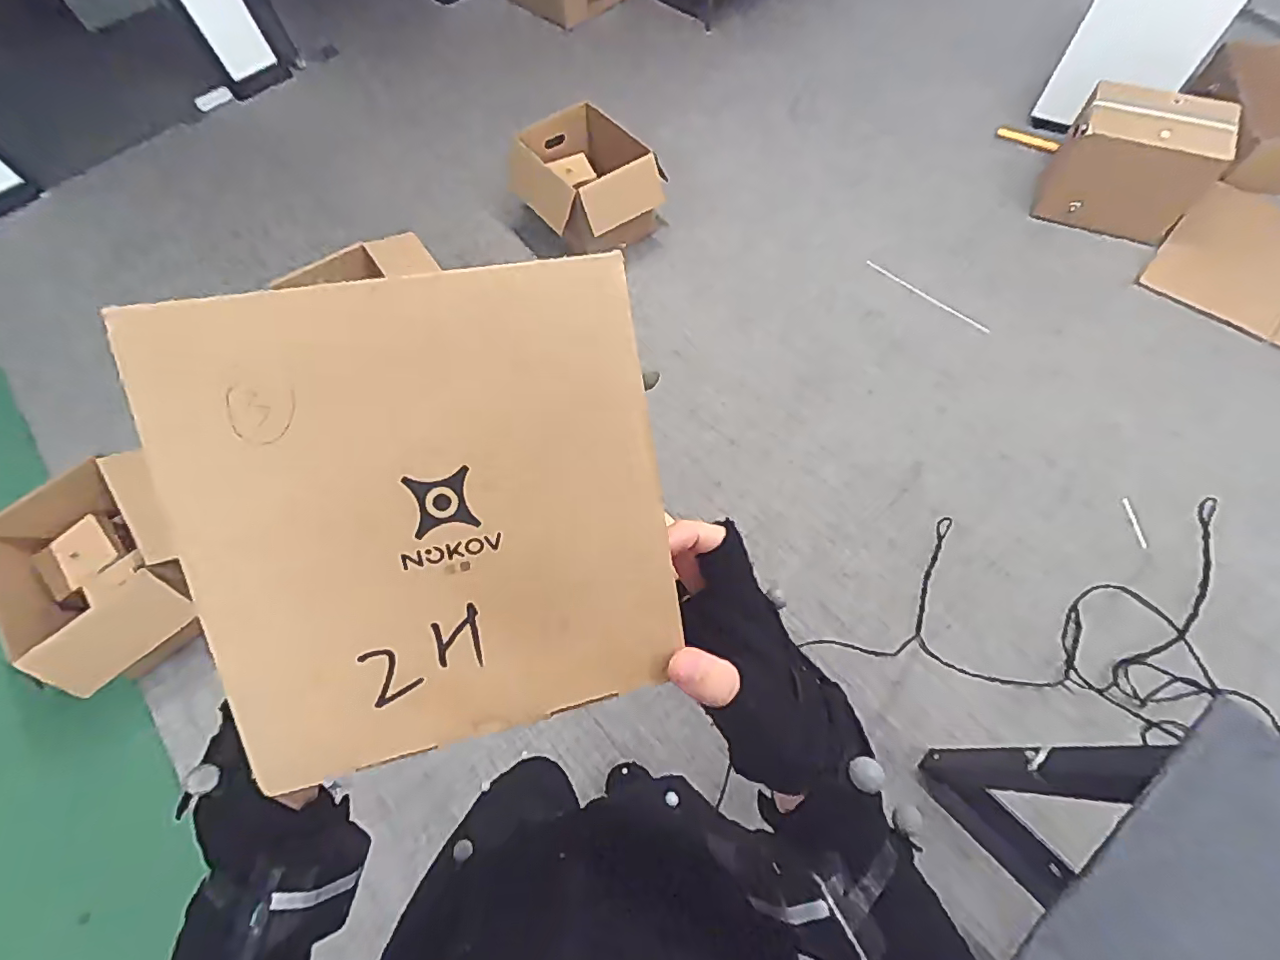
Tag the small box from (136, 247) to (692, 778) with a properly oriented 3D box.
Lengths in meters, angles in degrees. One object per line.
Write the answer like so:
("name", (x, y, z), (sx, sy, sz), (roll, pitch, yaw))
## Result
("small box", (-0.087, 0.000, 0.276), (0.168, 0.176, 0.179), (-11, 101, -12))
